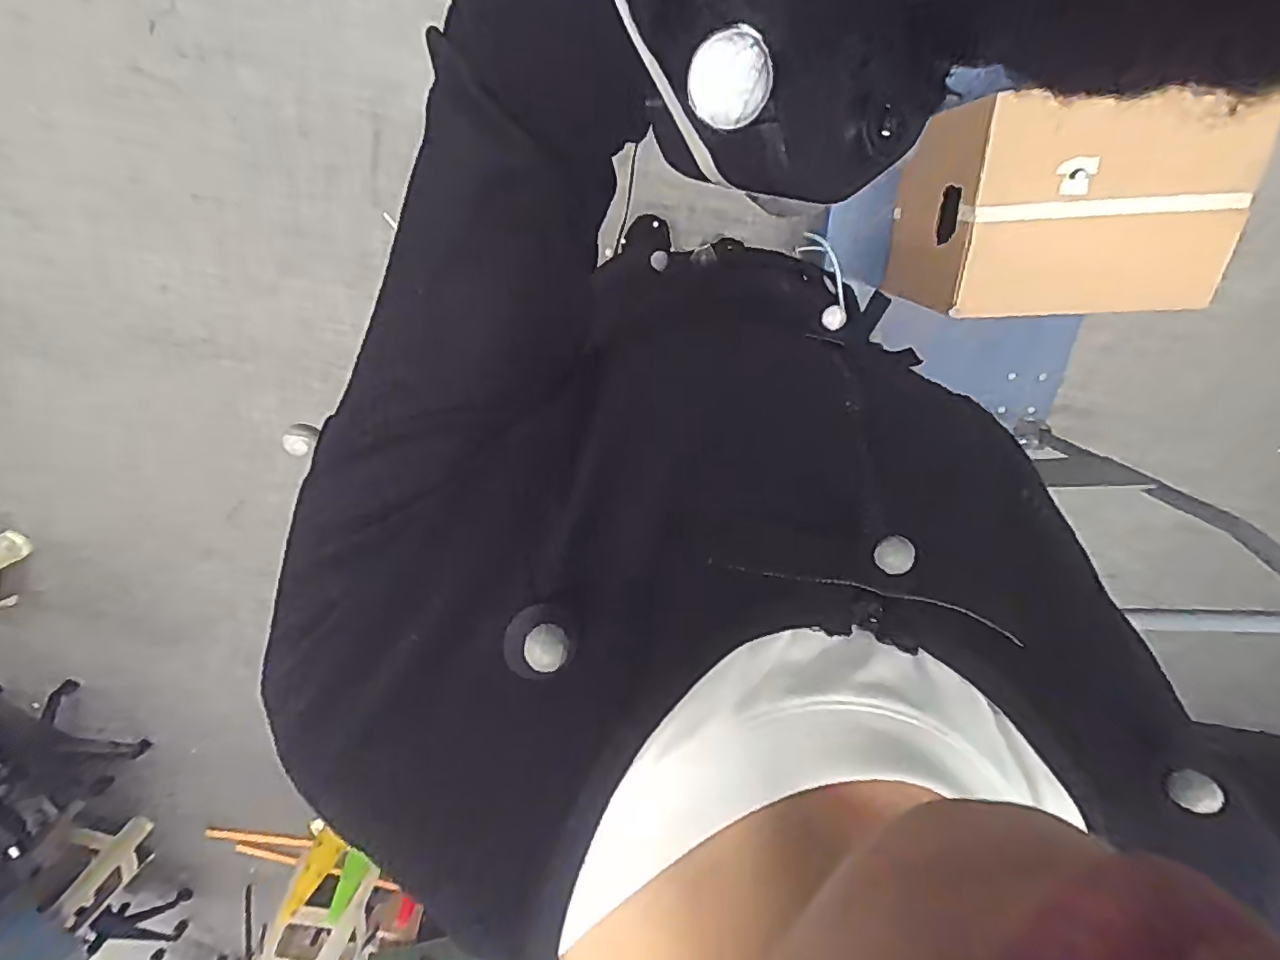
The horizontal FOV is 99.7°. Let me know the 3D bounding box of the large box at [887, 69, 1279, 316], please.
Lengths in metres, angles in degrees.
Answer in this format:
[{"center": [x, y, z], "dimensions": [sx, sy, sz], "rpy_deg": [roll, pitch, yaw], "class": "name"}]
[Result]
[{"center": [0.714, -0.487, 0.957], "dimensions": [0.408, 0.320, 0.320], "rpy_deg": [-2, 116, 4], "class": "large box"}]
